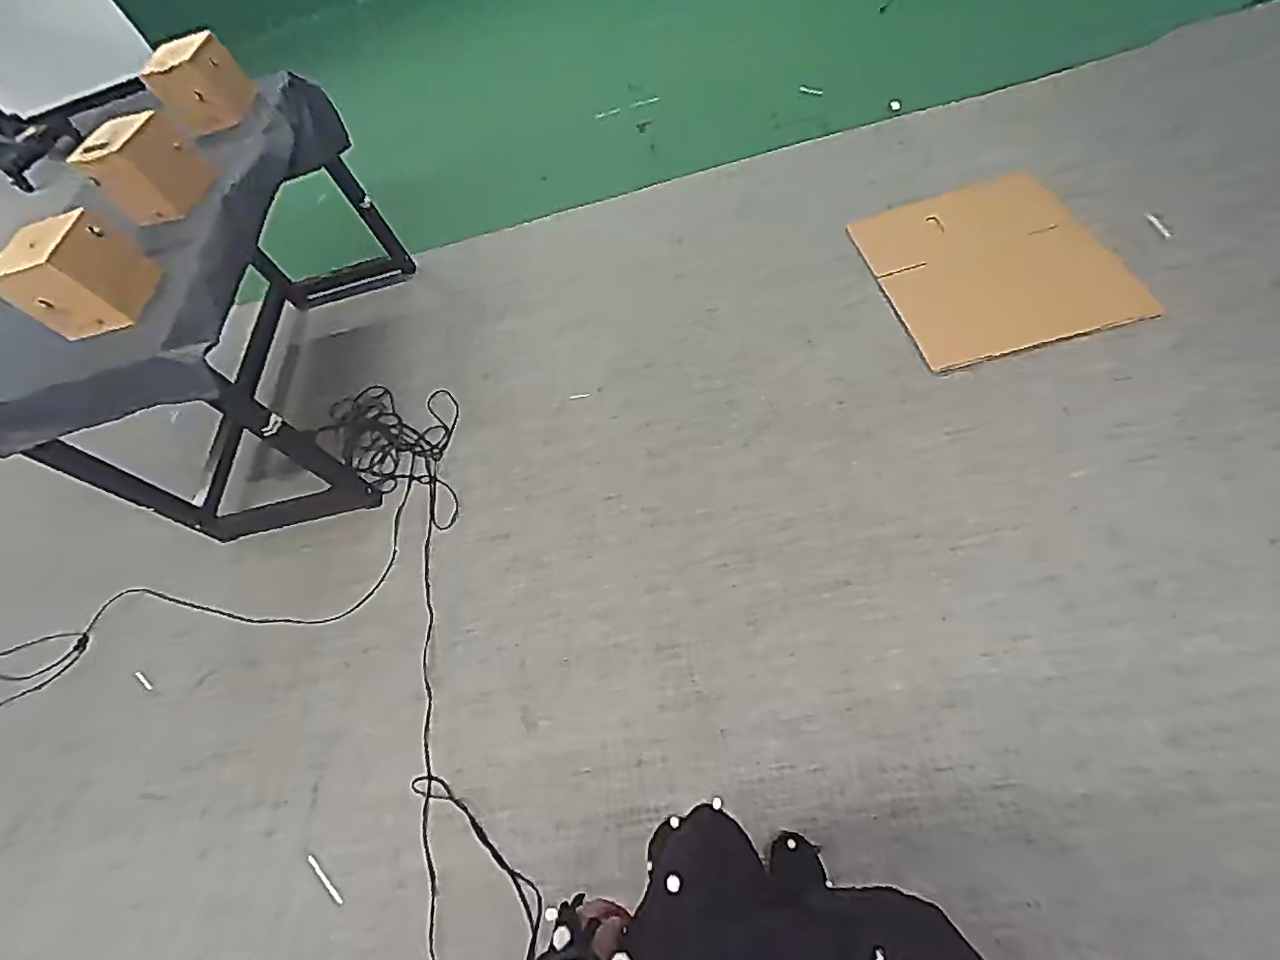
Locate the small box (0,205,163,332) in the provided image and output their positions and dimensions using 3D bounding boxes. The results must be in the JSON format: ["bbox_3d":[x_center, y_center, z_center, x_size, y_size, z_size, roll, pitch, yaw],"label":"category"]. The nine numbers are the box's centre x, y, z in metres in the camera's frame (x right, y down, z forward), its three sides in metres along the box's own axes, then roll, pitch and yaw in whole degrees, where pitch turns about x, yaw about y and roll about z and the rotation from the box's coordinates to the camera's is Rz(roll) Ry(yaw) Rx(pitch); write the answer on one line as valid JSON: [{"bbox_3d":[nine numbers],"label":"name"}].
[{"bbox_3d":[-1.169,-0.433,1.137,0.168,0.176,0.179,-11,59,9],"label":"small box"}]

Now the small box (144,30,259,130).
[{"bbox_3d":[-1.243,-1.135,1.550,0.168,0.176,0.179,-7,60,9],"label":"small box"}]
